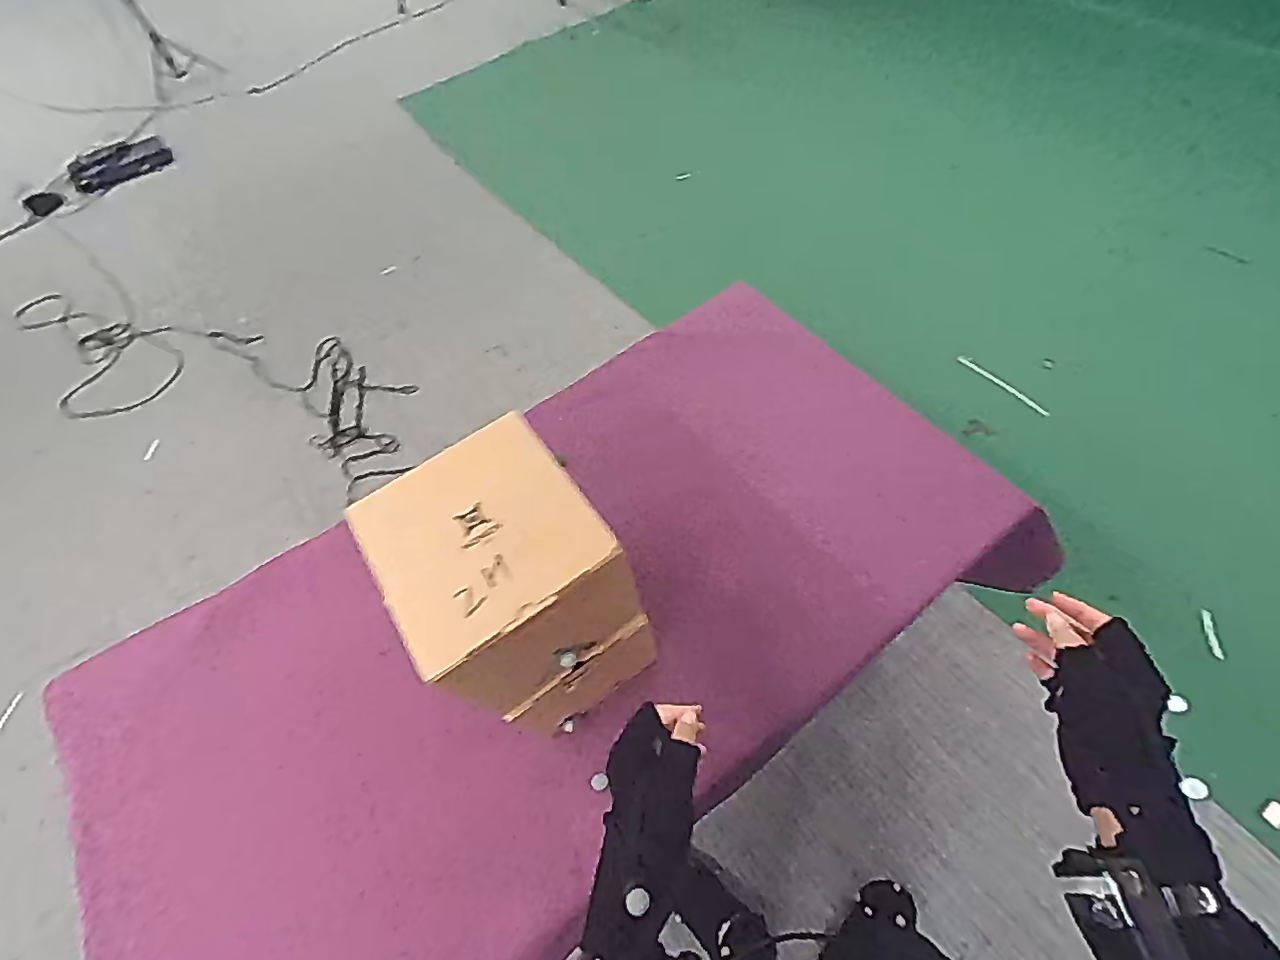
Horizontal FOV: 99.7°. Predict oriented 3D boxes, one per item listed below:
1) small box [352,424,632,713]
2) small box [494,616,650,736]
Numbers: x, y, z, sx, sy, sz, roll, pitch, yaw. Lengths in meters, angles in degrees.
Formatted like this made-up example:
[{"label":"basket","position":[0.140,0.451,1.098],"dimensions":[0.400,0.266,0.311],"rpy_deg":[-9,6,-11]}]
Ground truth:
[{"label":"small box","position":[-0.125,0.088,0.505],"dimensions":[0.168,0.176,0.179],"rpy_deg":[-33,61,-13]},{"label":"small box","position":[-0.103,0.179,0.641],"dimensions":[0.168,0.176,0.179],"rpy_deg":[-33,60,-14]}]
